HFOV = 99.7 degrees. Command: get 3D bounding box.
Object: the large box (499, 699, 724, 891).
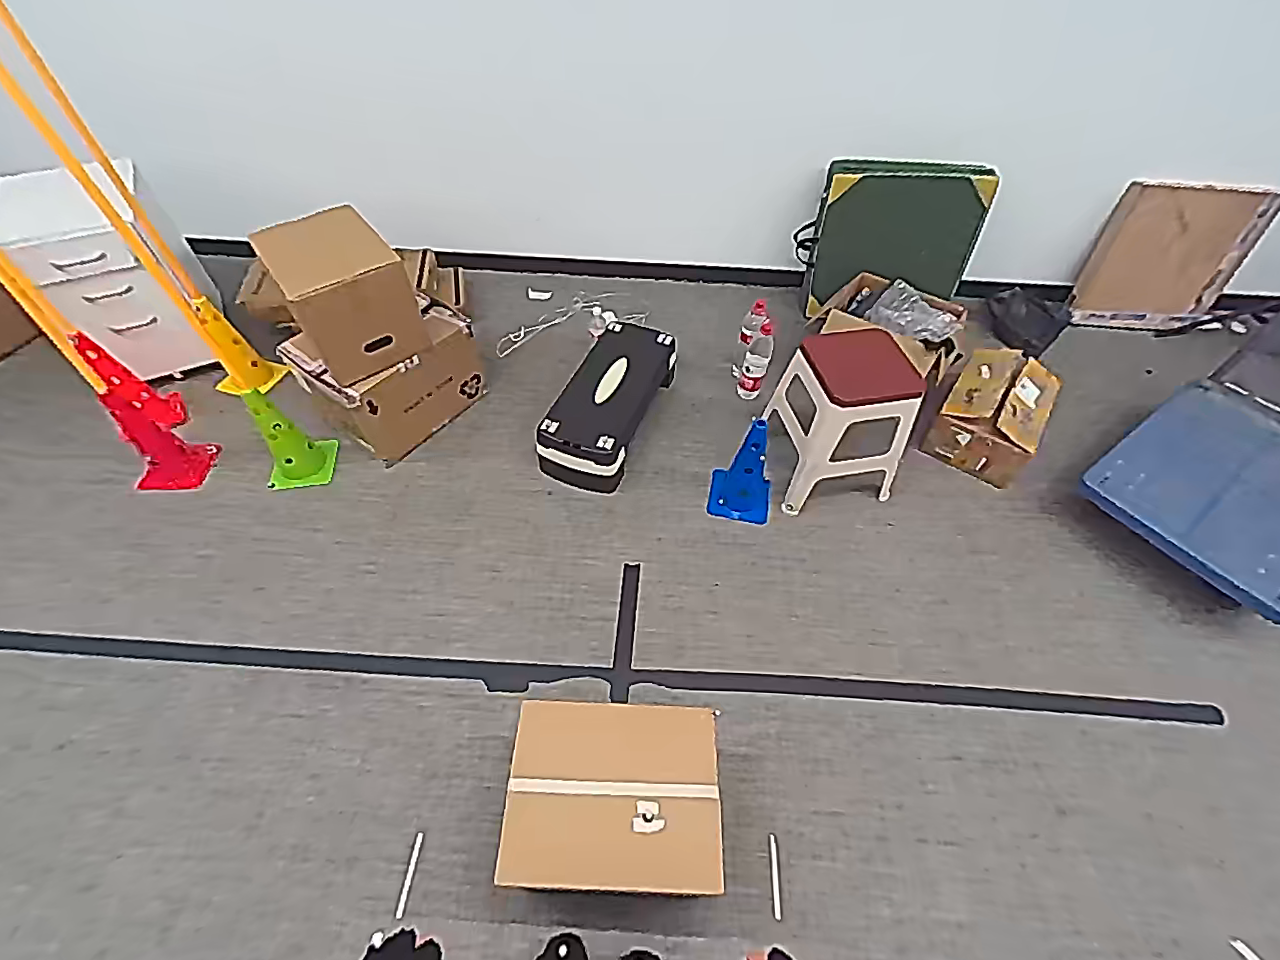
[{"bbox_3d":[-0.056,0.678,1.153,0.408,0.320,0.320,3,53,-1],"label":"large box"}]
